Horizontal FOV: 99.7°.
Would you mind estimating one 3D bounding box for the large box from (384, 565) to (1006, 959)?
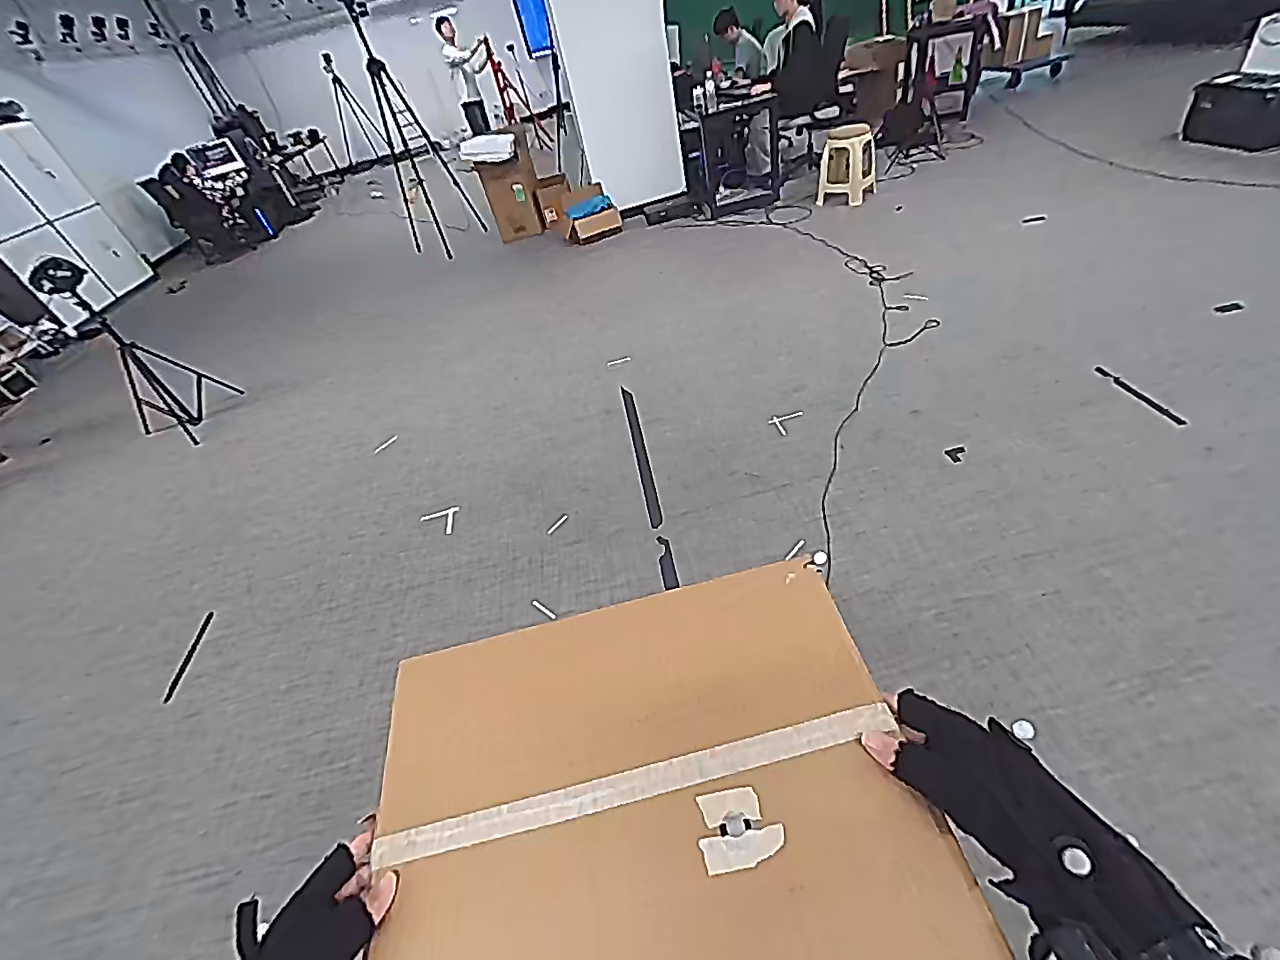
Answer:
[{"bbox_3d":[0.025,0.340,0.528,0.408,0.320,0.320,-15,47,-1],"label":"large box"}]
